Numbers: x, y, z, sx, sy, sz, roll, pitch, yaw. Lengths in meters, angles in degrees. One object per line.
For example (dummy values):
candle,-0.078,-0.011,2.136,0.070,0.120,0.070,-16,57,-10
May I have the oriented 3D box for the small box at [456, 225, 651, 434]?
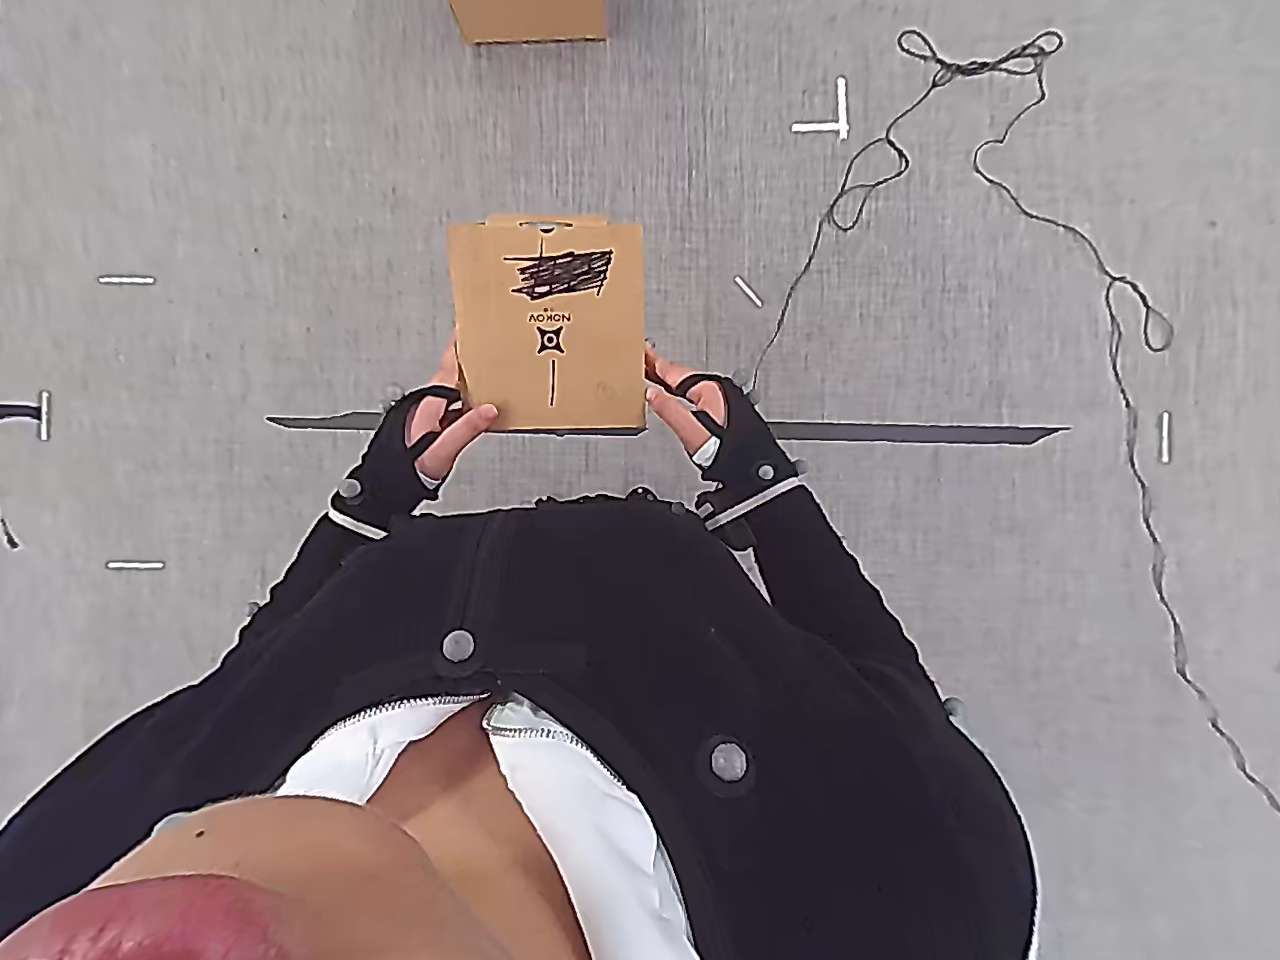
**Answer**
small box,-0.078,-0.140,0.545,0.168,0.176,0.179,-1,100,-3
